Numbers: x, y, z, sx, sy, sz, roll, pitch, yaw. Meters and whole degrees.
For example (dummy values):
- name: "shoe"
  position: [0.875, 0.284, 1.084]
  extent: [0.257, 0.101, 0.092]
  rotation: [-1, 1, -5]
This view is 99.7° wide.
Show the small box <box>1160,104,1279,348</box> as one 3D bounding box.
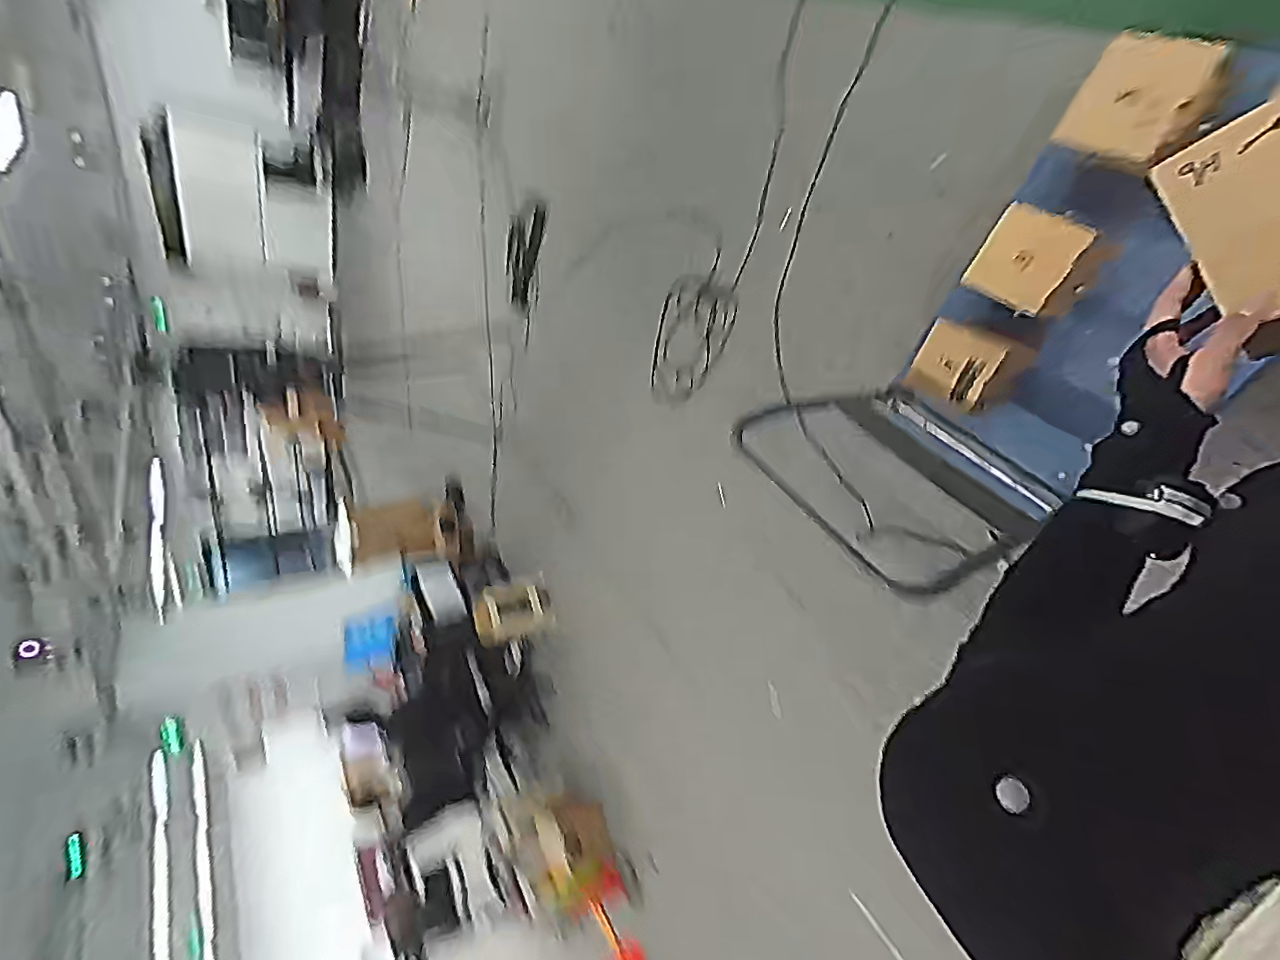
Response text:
- name: "small box"
  position: [0.608, -0.229, 0.471]
  extent: [0.168, 0.176, 0.179]
  rotation: [-26, 70, 49]

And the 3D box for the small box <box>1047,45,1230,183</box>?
- name: "small box"
  position: [0.925, -0.675, 1.009]
  extent: [0.179, 0.176, 0.168]
  rotation: [48, 133, 36]

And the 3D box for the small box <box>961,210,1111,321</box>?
- name: "small box"
  position: [0.847, -0.453, 1.160]
  extent: [0.179, 0.176, 0.168]
  rotation: [48, 132, 35]
